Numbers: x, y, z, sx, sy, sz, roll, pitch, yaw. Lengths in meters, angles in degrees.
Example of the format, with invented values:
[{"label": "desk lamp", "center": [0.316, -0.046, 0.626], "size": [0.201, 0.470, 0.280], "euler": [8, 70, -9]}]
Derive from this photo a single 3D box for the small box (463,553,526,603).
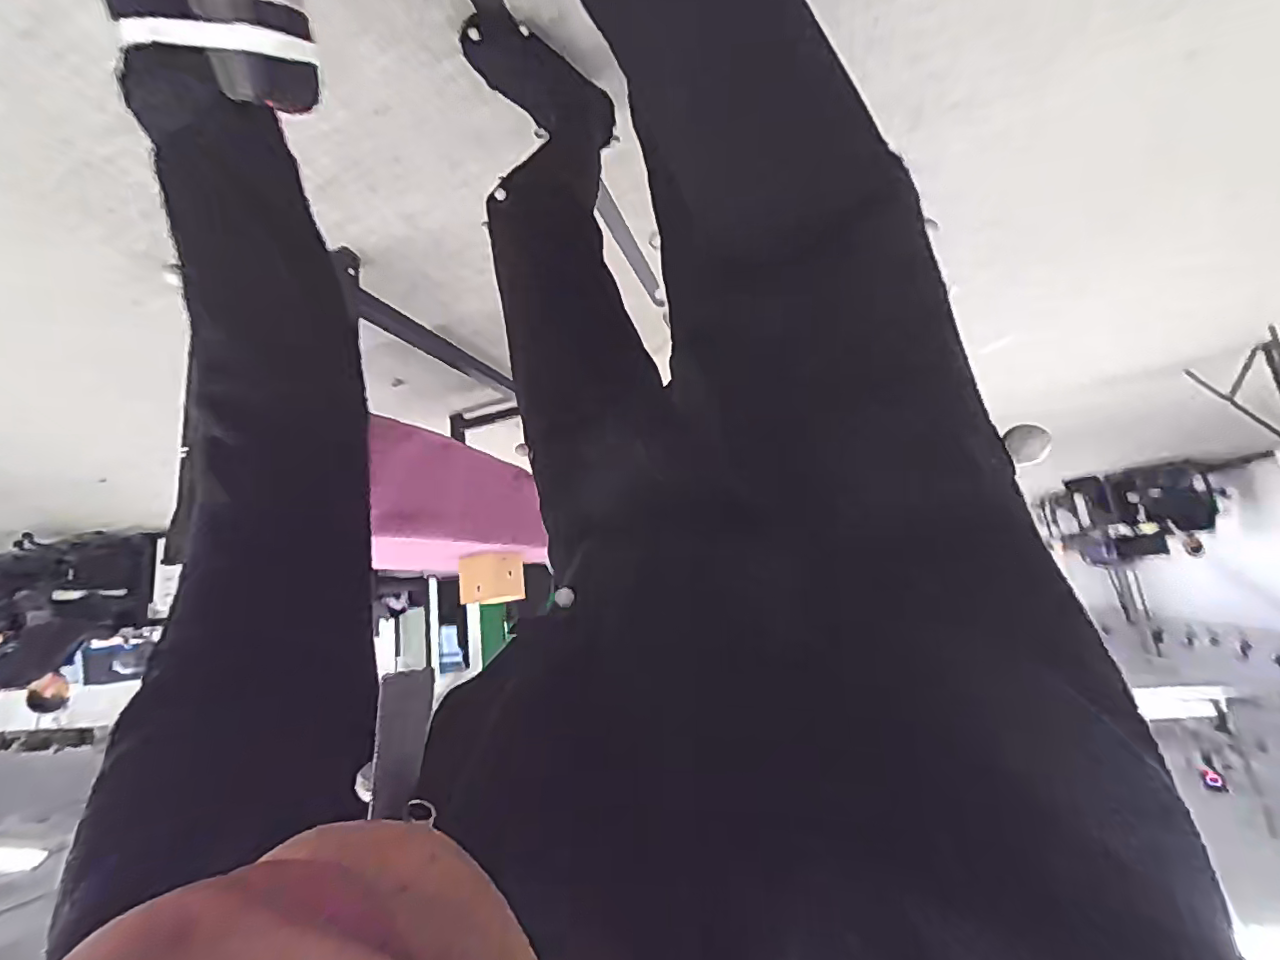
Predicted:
[{"label": "small box", "center": [-0.559, 0.372, 2.060], "size": [0.179, 0.176, 0.168], "euler": [-12, 166, 26]}]
